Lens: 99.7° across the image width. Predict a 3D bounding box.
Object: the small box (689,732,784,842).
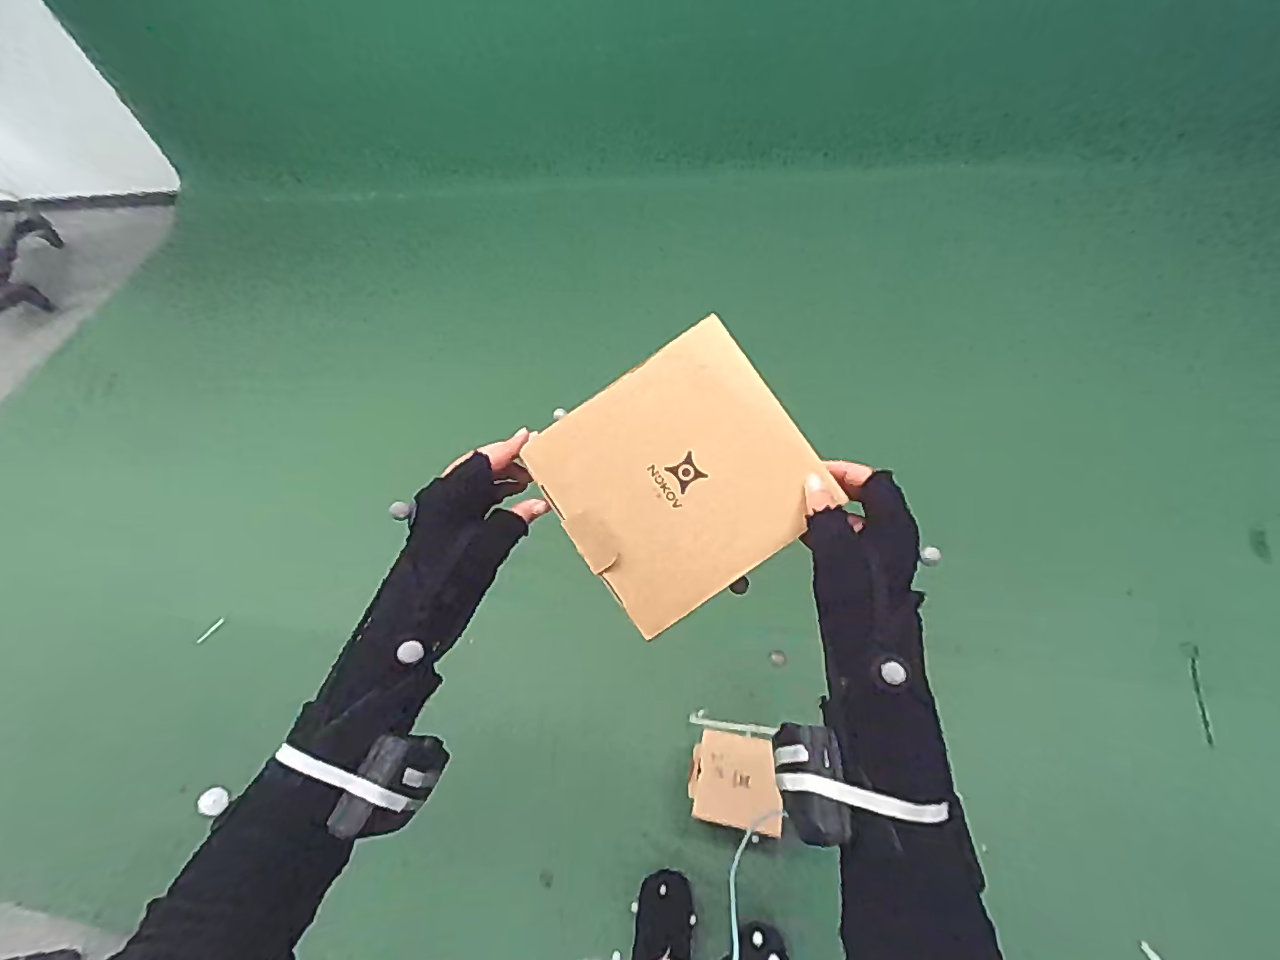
[{"bbox_3d":[0.207,0.658,1.160,0.179,0.176,0.168,6,58,12],"label":"small box"}]
